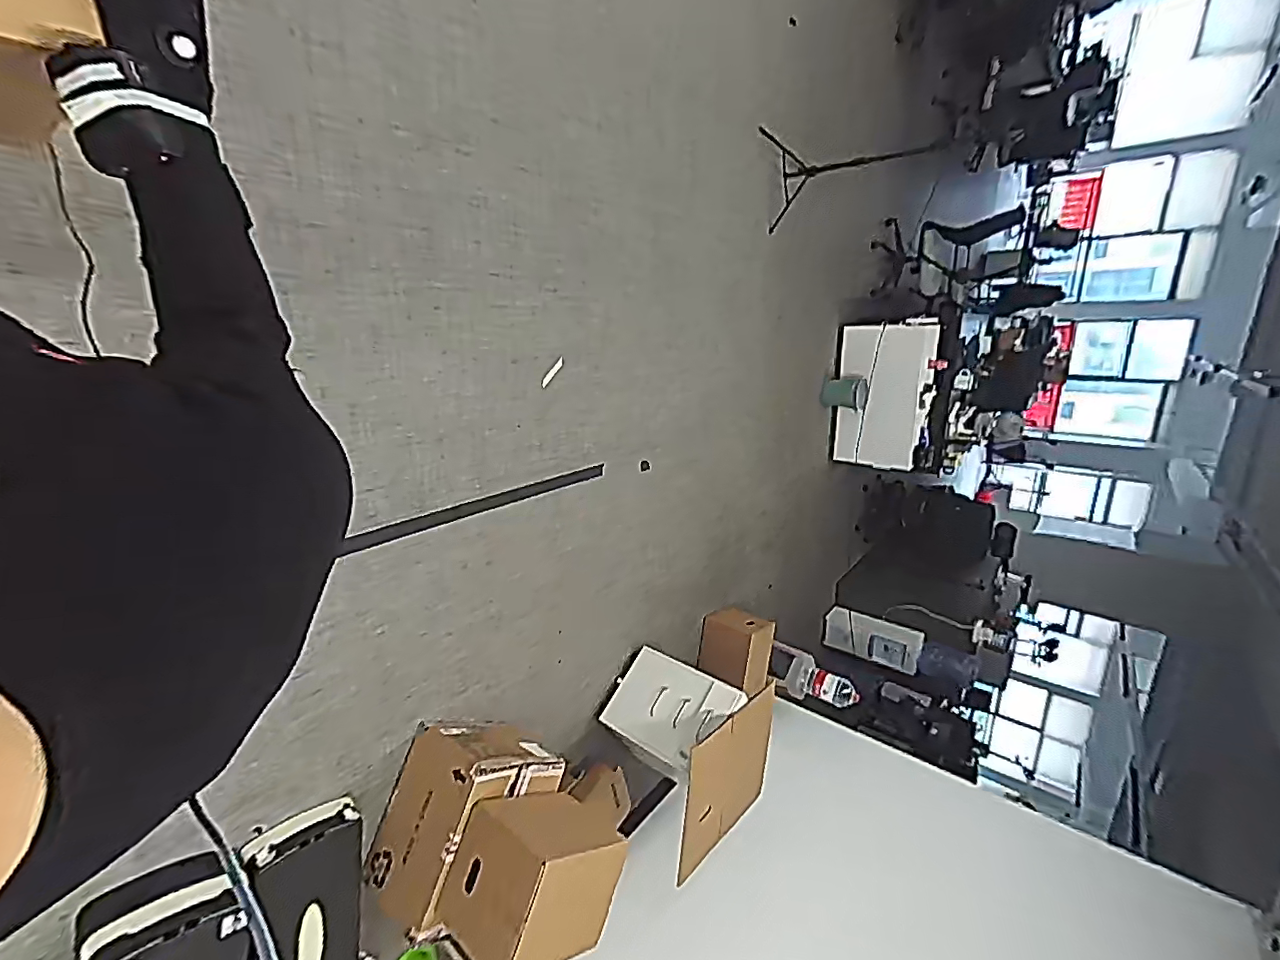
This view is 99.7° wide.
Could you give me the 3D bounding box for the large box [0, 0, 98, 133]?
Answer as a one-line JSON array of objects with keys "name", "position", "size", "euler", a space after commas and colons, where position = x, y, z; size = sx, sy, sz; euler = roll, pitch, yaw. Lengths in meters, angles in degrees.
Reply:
[{"name": "large box", "position": [-0.614, -0.411, 0.260], "size": [0.408, 0.320, 0.320], "euler": [-24, 119, -50]}]
